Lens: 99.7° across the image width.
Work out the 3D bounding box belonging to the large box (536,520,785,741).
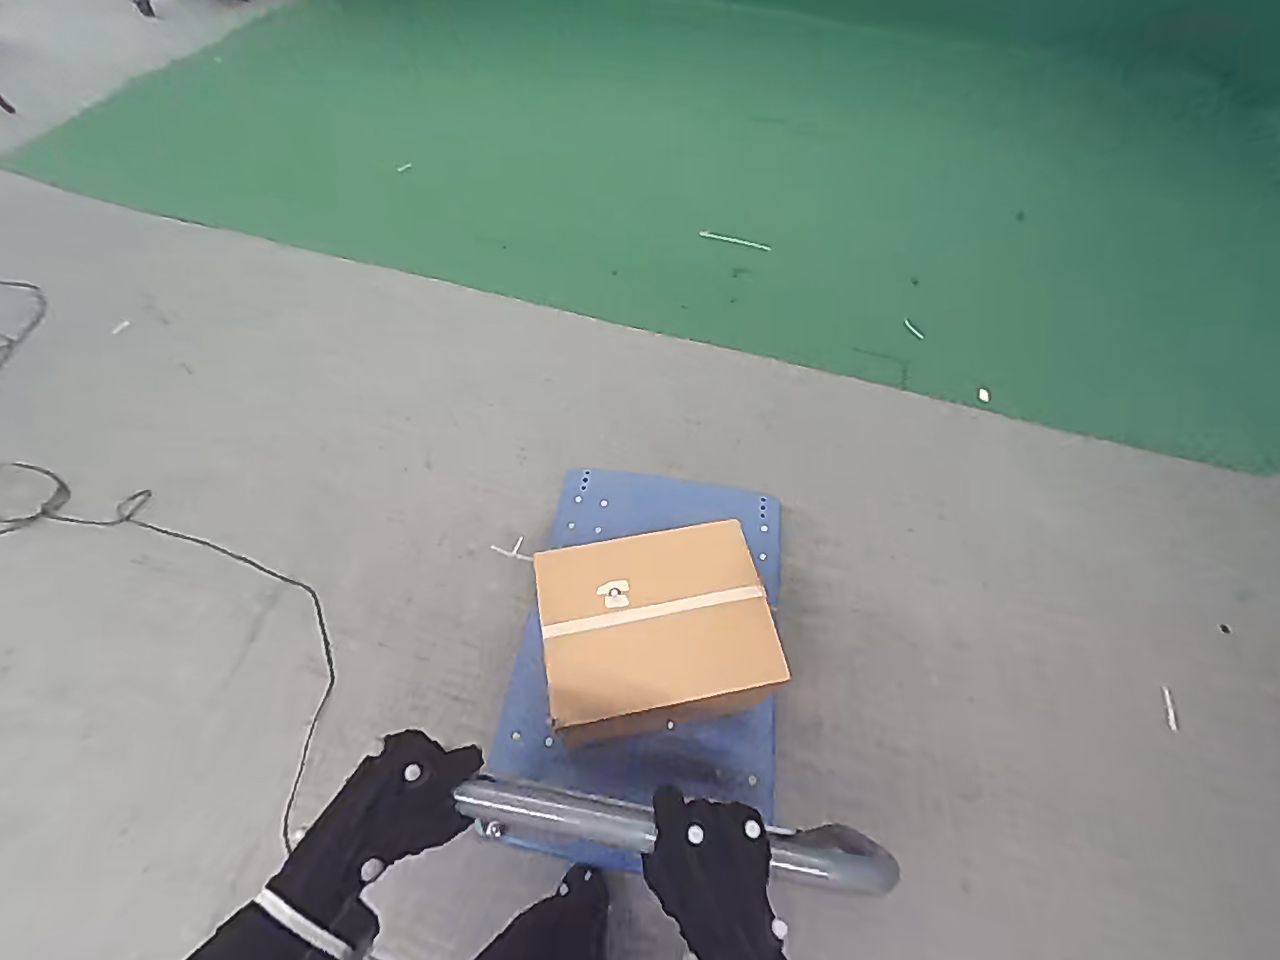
[{"bbox_3d":[0.025,0.314,1.098,0.408,0.320,0.320,-9,59,-7],"label":"large box"}]
